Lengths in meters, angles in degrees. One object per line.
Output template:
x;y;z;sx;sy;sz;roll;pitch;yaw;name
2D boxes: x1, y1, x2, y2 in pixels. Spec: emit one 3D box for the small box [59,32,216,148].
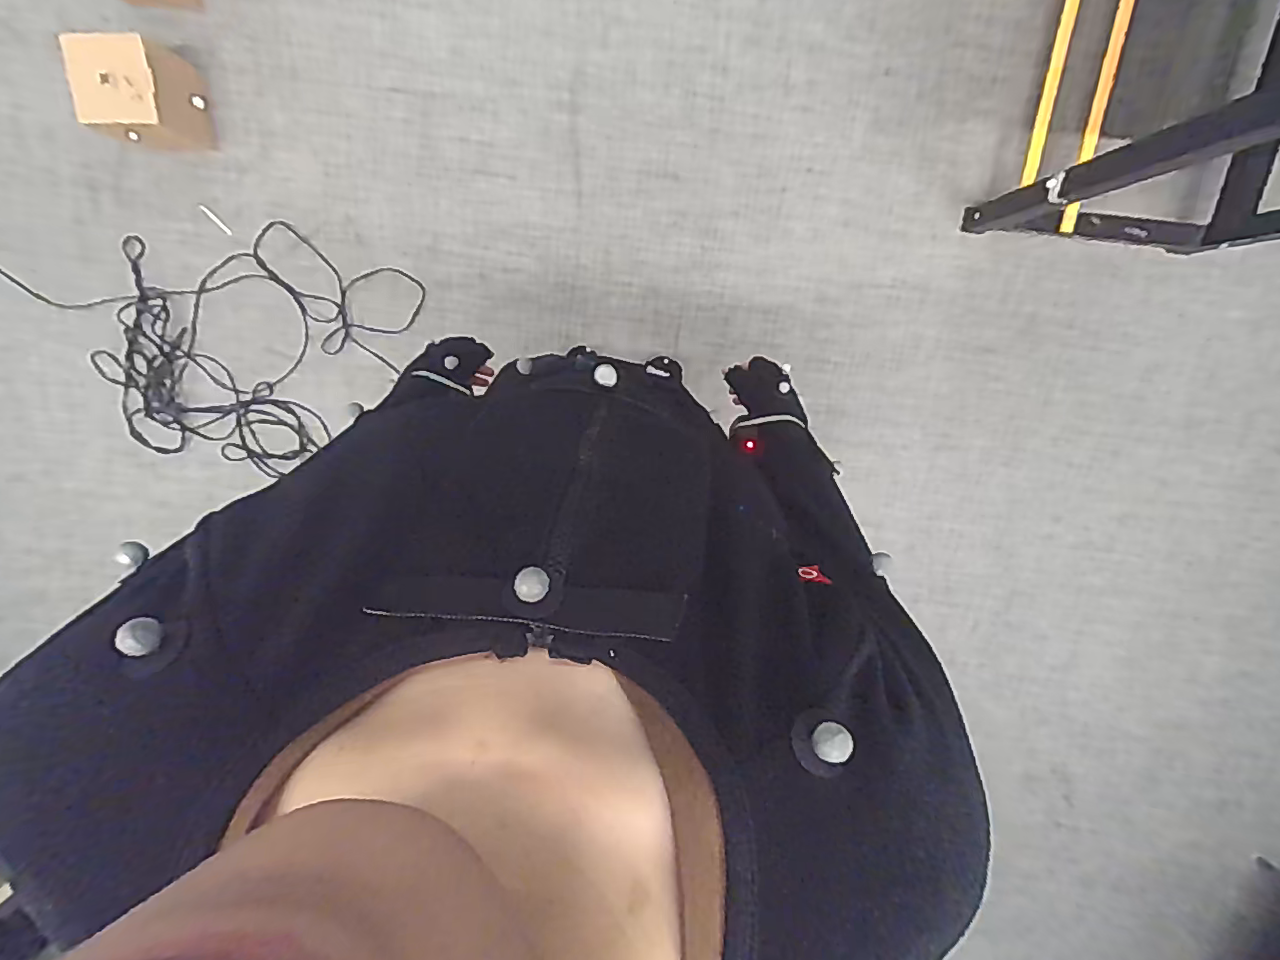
-1.100;-0.854;1.199;0.179;0.176;0.168;0;105;0;small box
